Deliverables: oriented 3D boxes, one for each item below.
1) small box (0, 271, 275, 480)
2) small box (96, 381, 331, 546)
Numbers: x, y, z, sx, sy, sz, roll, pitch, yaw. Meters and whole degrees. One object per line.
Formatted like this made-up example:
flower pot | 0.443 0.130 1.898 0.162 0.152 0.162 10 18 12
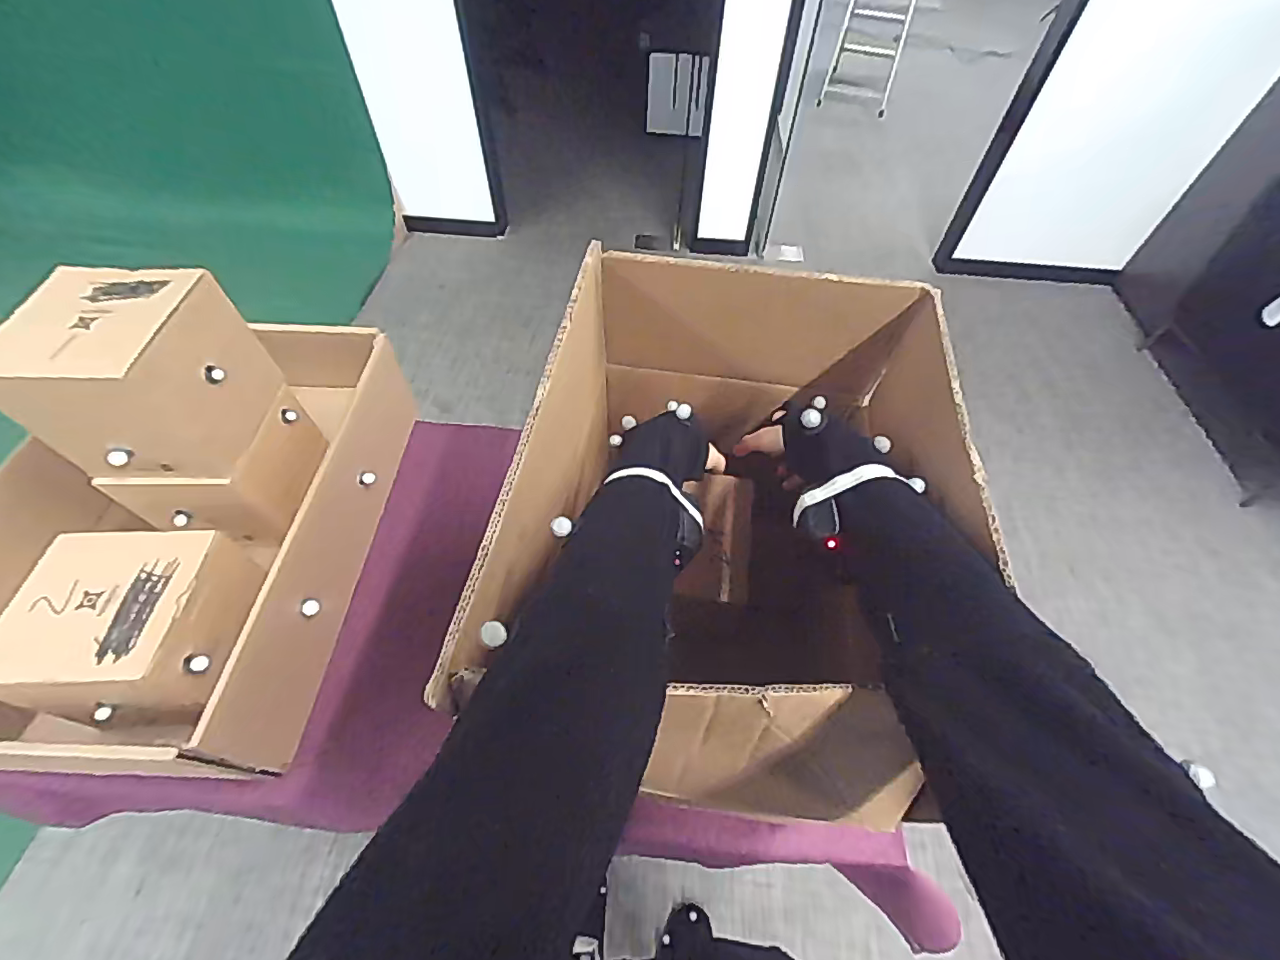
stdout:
small box | -0.569 -0.118 0.628 0.168 0.176 0.179 0 56 0
small box | -0.571 -0.017 0.758 0.168 0.176 0.179 0 55 -1
